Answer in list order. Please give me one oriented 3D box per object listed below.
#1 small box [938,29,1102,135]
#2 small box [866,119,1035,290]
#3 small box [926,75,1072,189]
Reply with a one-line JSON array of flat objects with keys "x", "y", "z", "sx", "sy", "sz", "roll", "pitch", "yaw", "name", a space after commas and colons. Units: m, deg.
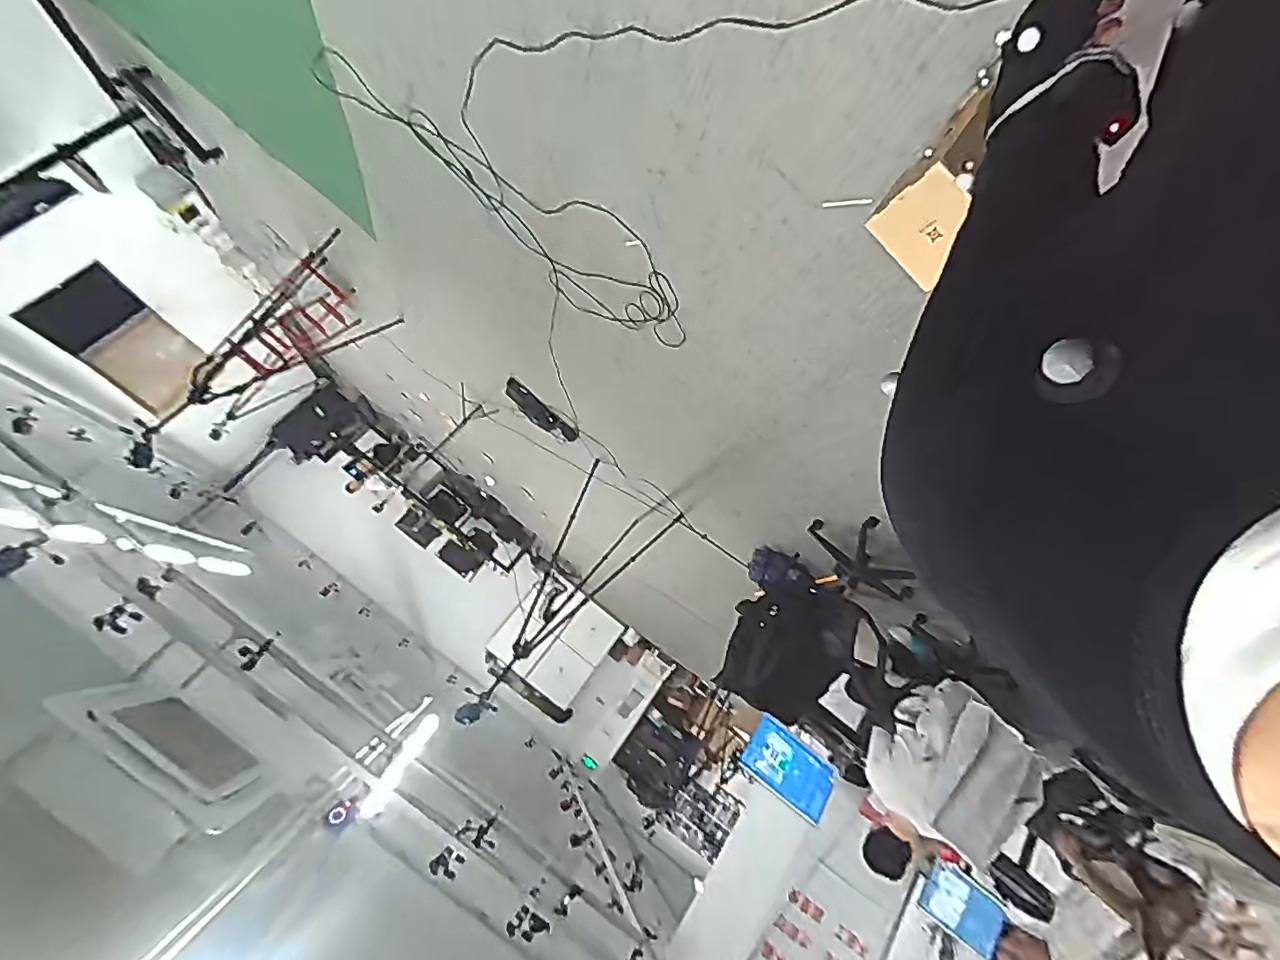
[{"x": 0.742, "y": -0.731, "z": 1.061, "sx": 0.179, "sy": 0.176, "sz": 0.168, "roll": 40, "pitch": 162, "yaw": -1, "name": "small box"}, {"x": 0.550, "y": -0.484, "z": 0.957, "sx": 0.179, "sy": 0.176, "sz": 0.168, "roll": 42, "pitch": 159, "yaw": -9, "name": "small box"}, {"x": 0.648, "y": -0.604, "z": 1.007, "sx": 0.179, "sy": 0.176, "sz": 0.168, "roll": 39, "pitch": 159, "yaw": -5, "name": "small box"}]
